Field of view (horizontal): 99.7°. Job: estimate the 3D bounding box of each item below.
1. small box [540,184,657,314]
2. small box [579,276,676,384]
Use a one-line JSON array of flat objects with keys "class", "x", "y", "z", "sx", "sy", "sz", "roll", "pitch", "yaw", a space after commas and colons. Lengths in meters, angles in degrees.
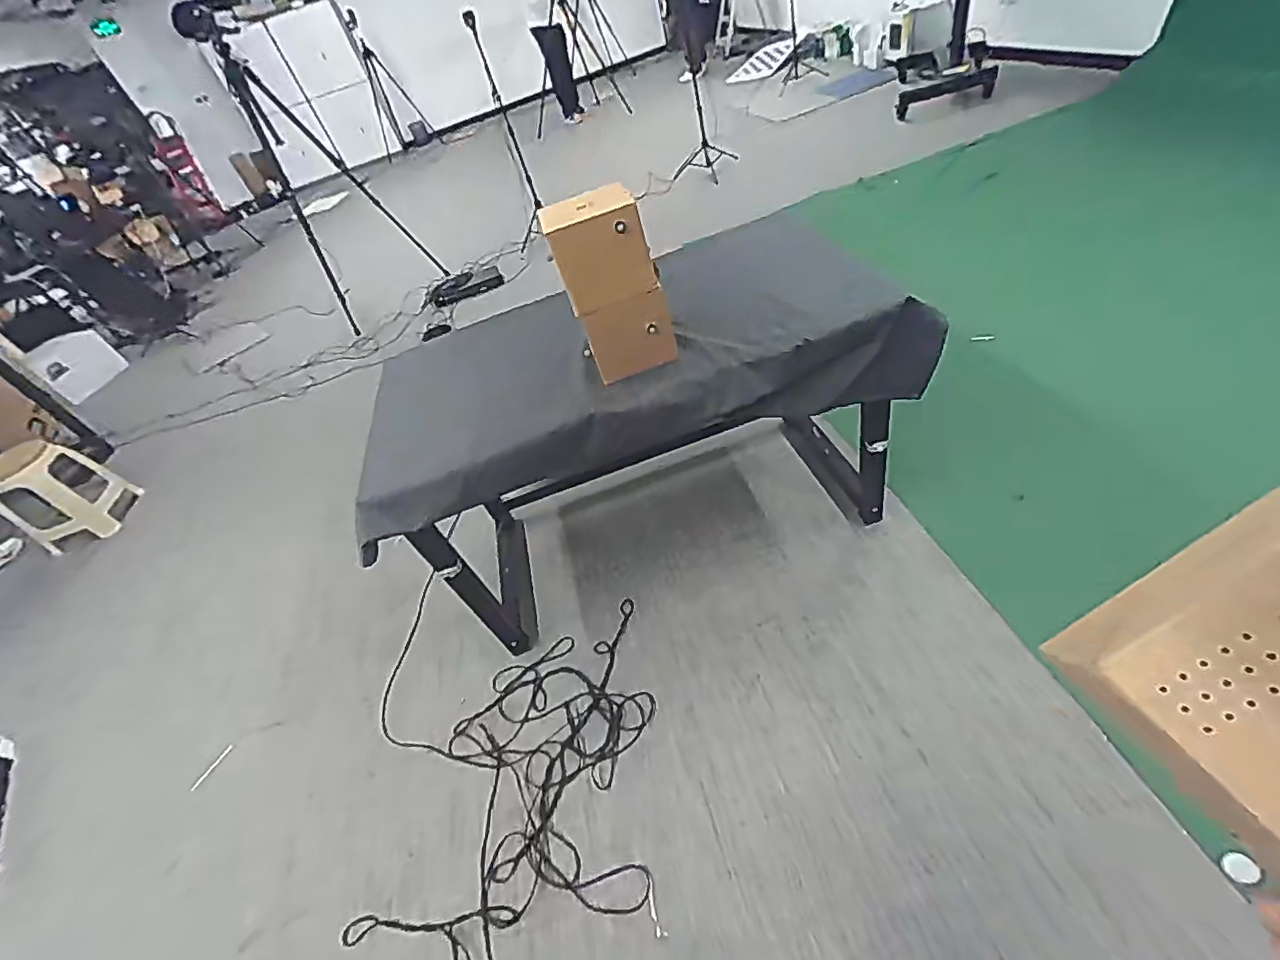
[{"class": "small box", "x": -0.081, "y": -0.451, "z": 1.065, "sx": 0.179, "sy": 0.176, "sz": 0.168, "roll": -19, "pitch": 42, "yaw": 1}, {"class": "small box", "x": -0.030, "y": -0.339, "z": 1.172, "sx": 0.179, "sy": 0.176, "sz": 0.168, "roll": -22, "pitch": 42, "yaw": 0}]
